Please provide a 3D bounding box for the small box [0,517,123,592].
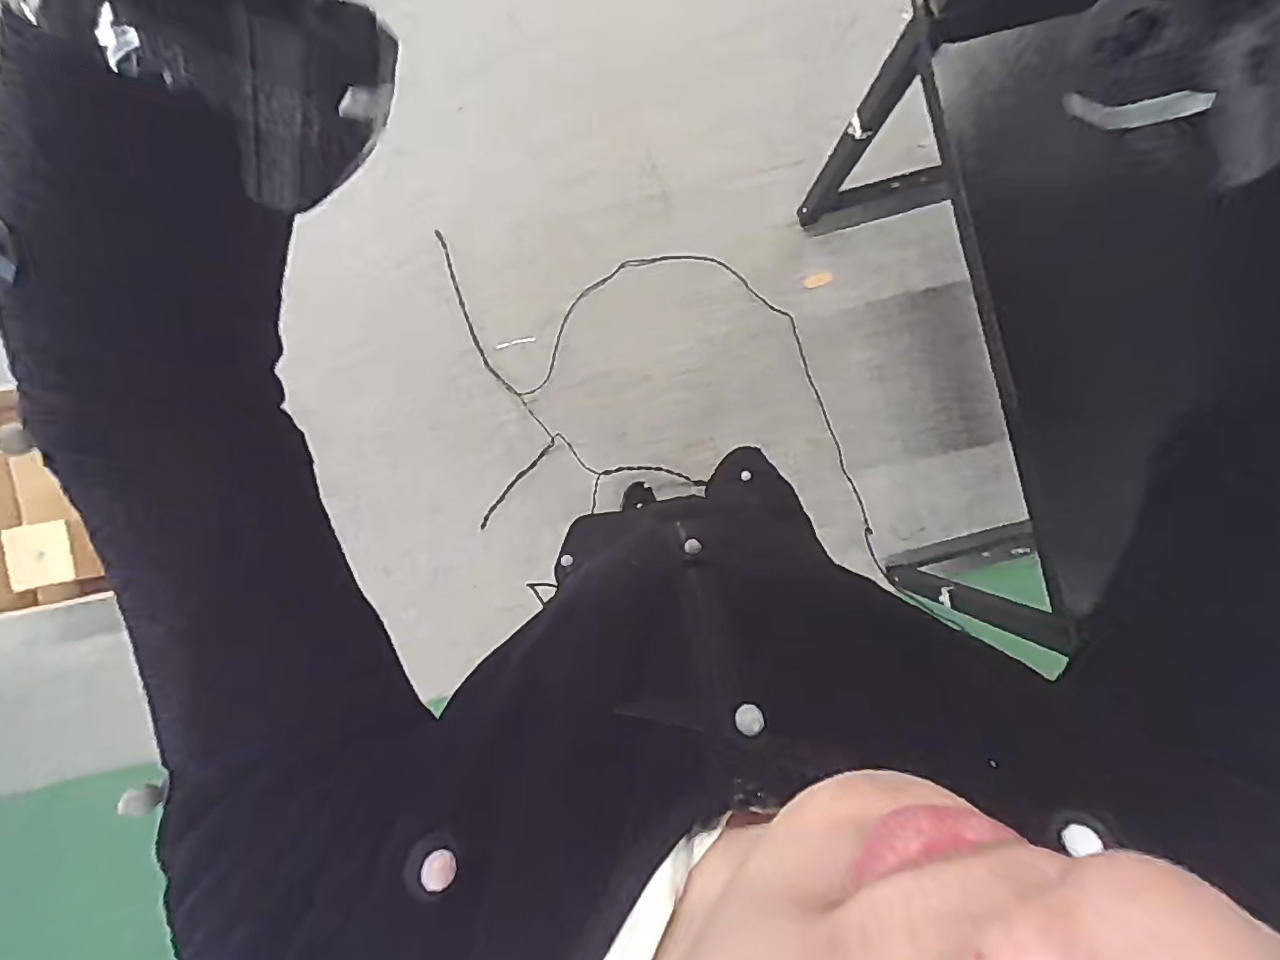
[{"bbox_3d":[-1.587,0.199,1.493,0.179,0.176,0.168,-11,90,0],"label":"small box"}]
